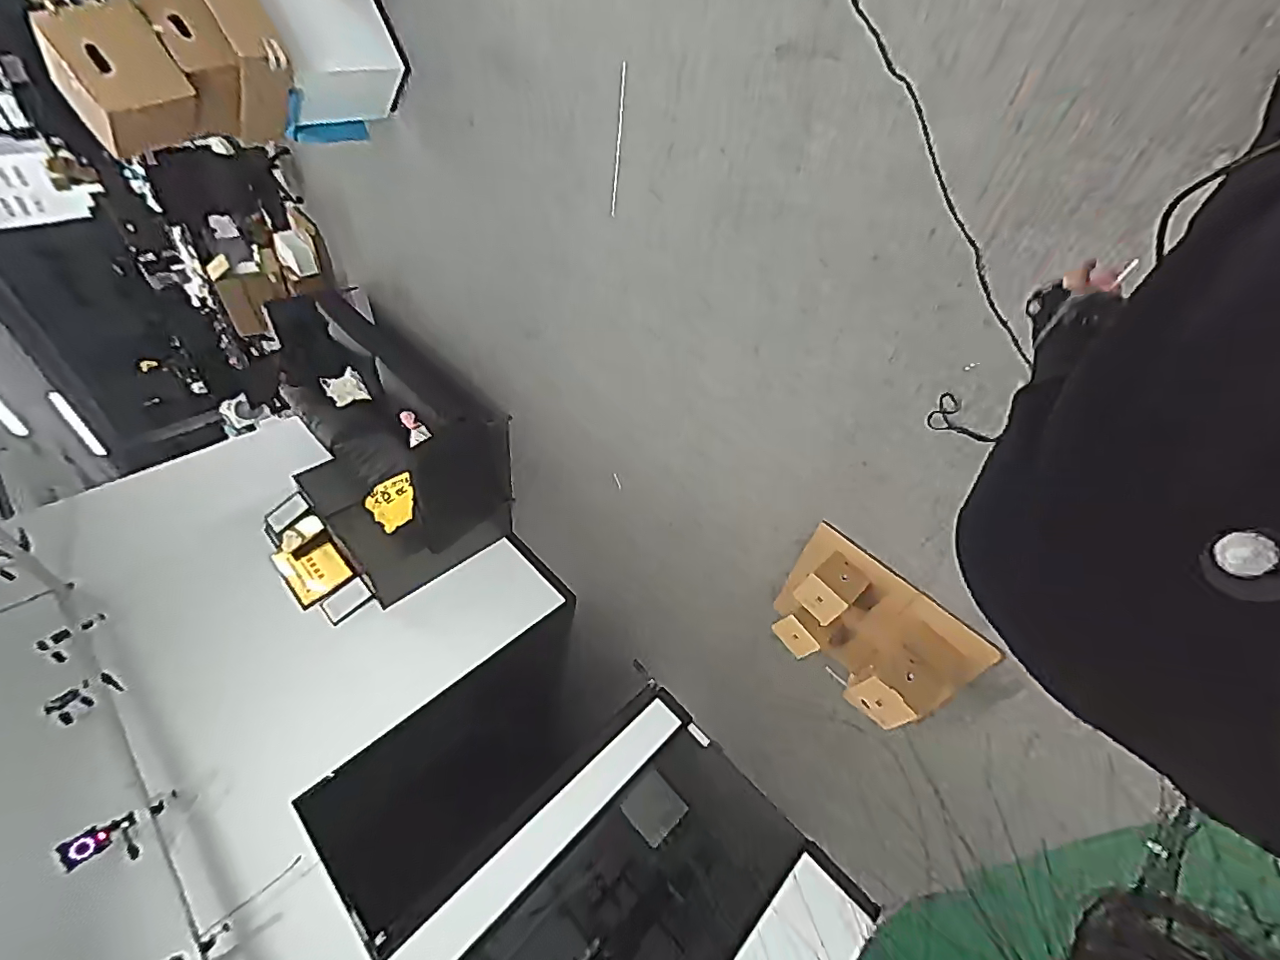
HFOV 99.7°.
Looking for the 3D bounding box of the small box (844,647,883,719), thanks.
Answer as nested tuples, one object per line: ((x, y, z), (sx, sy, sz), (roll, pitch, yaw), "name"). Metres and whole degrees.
((0.906, 0.769, 2.042), (0.179, 0.176, 0.168), (30, 137, 37), "small box")

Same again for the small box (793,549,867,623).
((0.704, 0.385, 1.988), (0.168, 0.176, 0.179), (45, 145, 20), "small box")

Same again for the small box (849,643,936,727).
((0.827, 0.663, 1.761), (0.168, 0.176, 0.179), (47, 145, 19), "small box")
